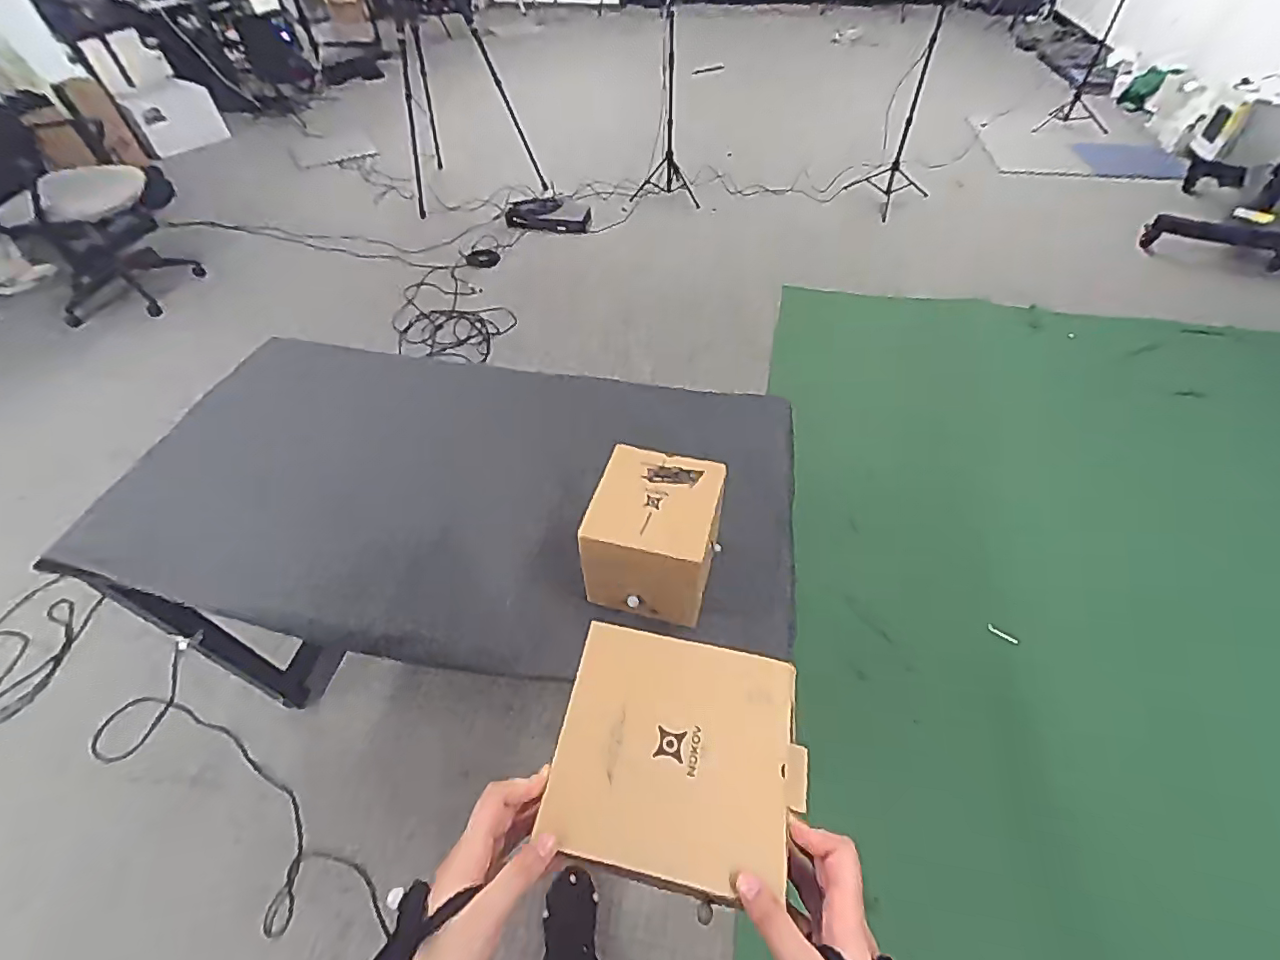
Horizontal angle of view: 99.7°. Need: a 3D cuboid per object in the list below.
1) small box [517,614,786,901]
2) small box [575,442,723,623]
[{"bbox_3d":[0.018,0.239,0.464,0.179,0.176,0.168,8,51,8],"label":"small box"},{"bbox_3d":[0.018,0.075,0.781,0.168,0.176,0.179,11,49,12],"label":"small box"}]
